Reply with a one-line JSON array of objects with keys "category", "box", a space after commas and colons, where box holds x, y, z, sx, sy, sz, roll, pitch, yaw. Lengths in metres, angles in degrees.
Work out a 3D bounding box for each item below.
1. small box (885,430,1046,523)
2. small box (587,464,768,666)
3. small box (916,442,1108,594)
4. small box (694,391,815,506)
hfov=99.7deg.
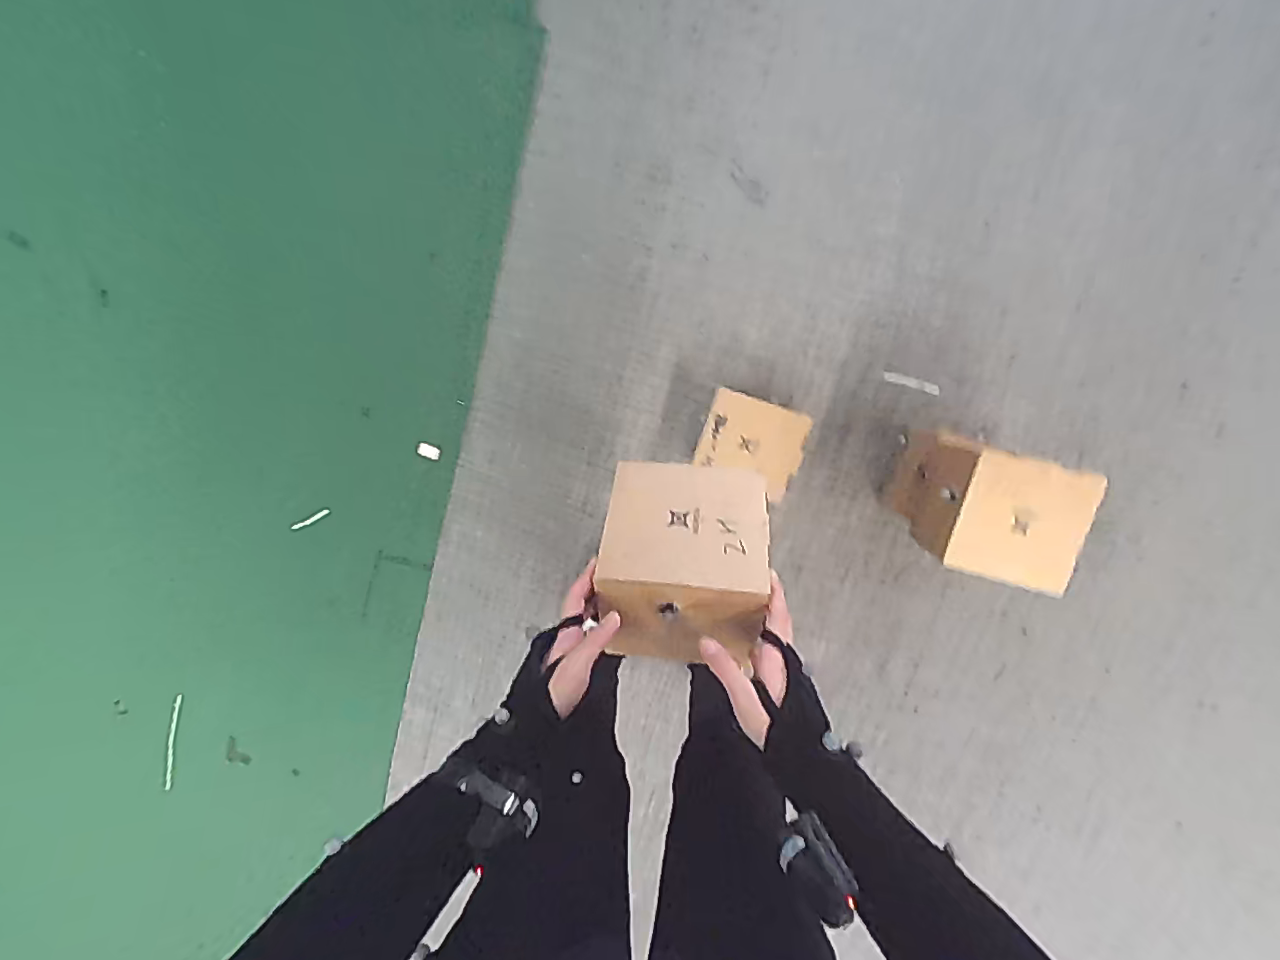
[{"category": "small box", "box": [0.575, 0.010, 0.984, 0.179, 0.176, 0.168, 18, 101, 7]}, {"category": "small box", "box": [0.047, 0.100, 0.624, 0.179, 0.168, 0.176, 3, 138, 6]}, {"category": "small box", "box": [0.547, 0.047, 0.828, 0.168, 0.176, 0.179, 14, 100, 8]}, {"category": "small box", "box": [0.214, -0.067, 1.042, 0.179, 0.176, 0.168, 20, 101, 7]}]
